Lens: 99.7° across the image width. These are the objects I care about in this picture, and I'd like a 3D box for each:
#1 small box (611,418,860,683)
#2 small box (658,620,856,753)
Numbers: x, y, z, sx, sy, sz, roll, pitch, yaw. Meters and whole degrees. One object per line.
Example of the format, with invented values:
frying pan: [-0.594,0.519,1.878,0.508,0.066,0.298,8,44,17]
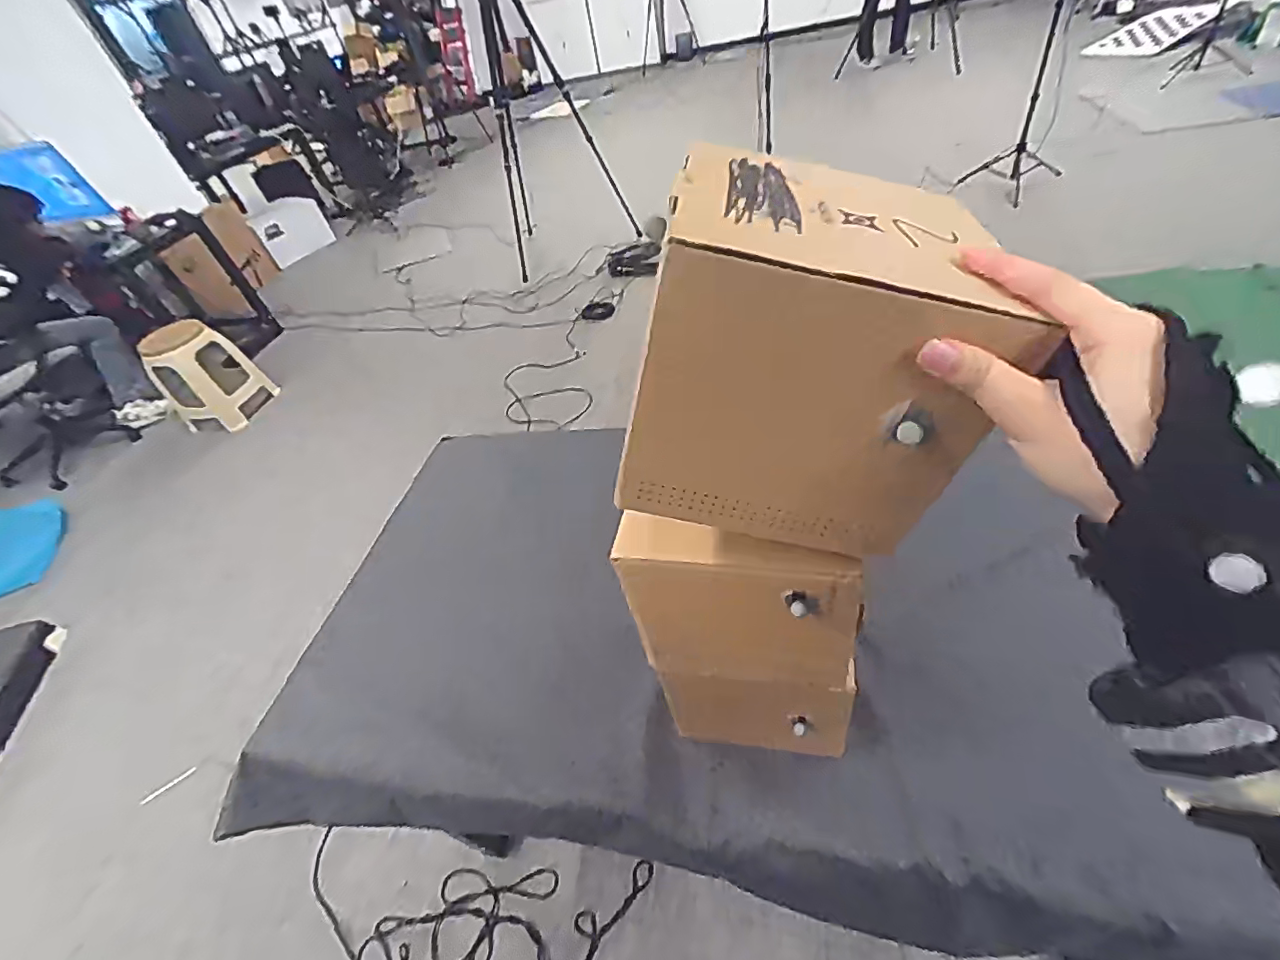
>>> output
small box: [0.092,0.061,0.482,0.179,0.176,0.168,2,45,16]
small box: [0.130,0.178,0.589,0.179,0.176,0.168,-1,44,16]
